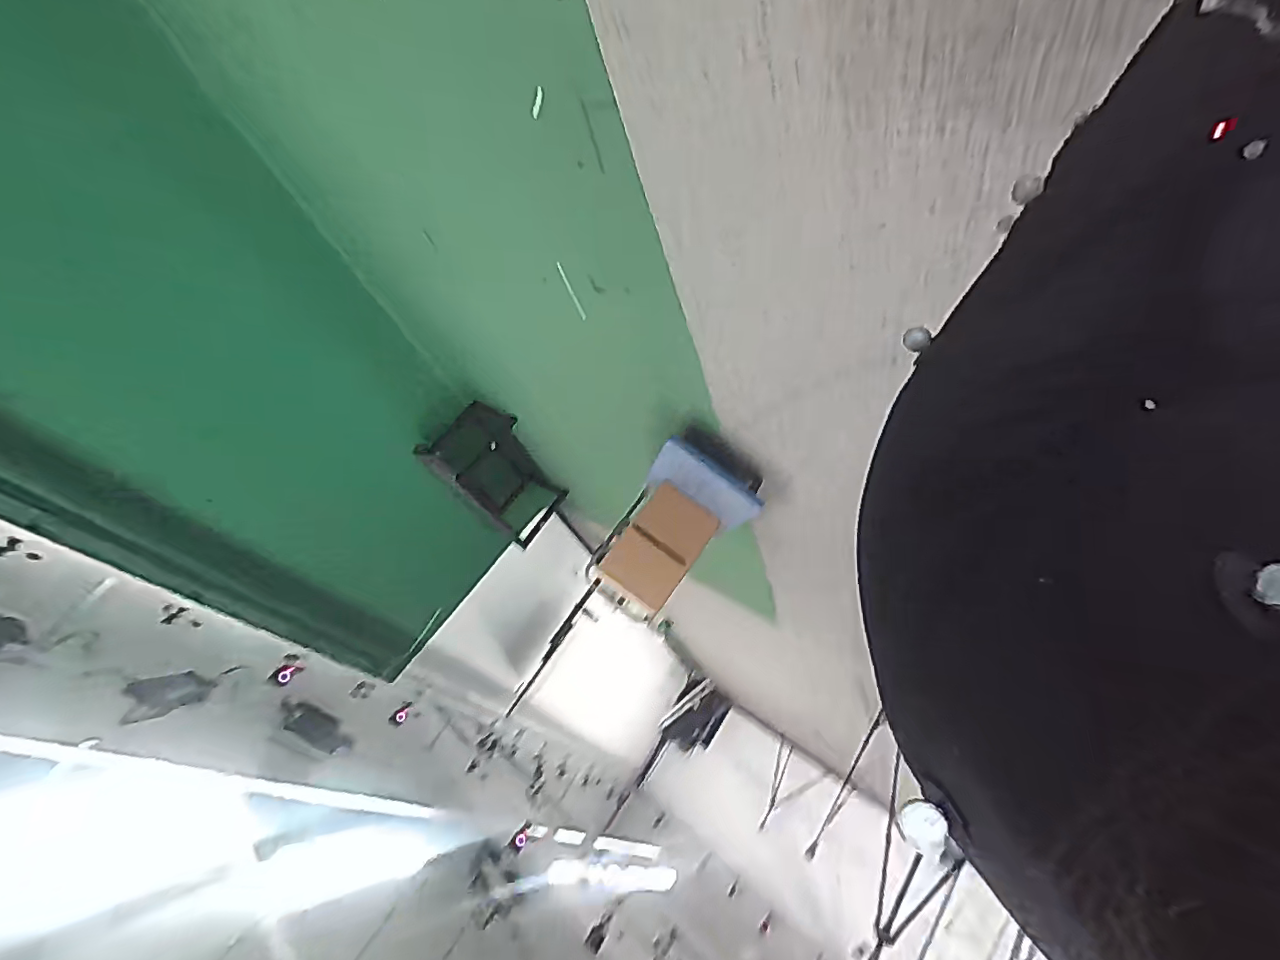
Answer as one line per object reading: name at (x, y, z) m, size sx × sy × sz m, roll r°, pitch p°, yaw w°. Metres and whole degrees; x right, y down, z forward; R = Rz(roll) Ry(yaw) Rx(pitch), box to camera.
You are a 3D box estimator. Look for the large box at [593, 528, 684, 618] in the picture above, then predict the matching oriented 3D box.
large box at (-0.009, 0.526, 3.041) m, size 0.408 × 0.320 × 0.320 m, roll 38°, pitch 166°, yaw 6°
